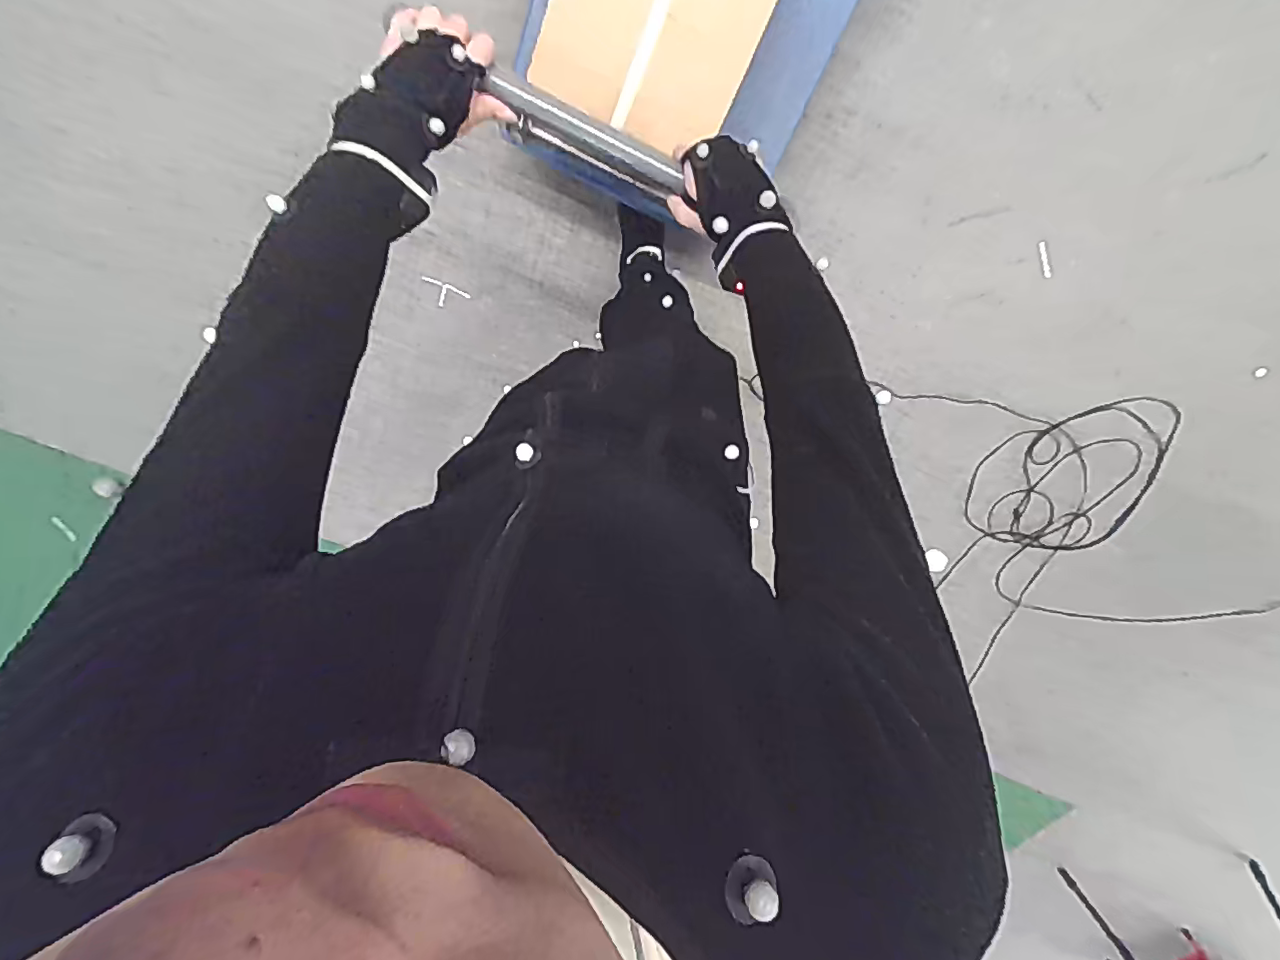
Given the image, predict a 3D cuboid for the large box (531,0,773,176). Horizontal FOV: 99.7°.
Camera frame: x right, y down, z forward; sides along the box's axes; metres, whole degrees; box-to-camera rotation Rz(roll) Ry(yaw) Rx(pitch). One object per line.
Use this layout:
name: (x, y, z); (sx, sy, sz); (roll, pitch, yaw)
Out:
large box: (0.048, -0.813, 0.942); (0.320, 0.320, 0.408); (24, 115, -9)
